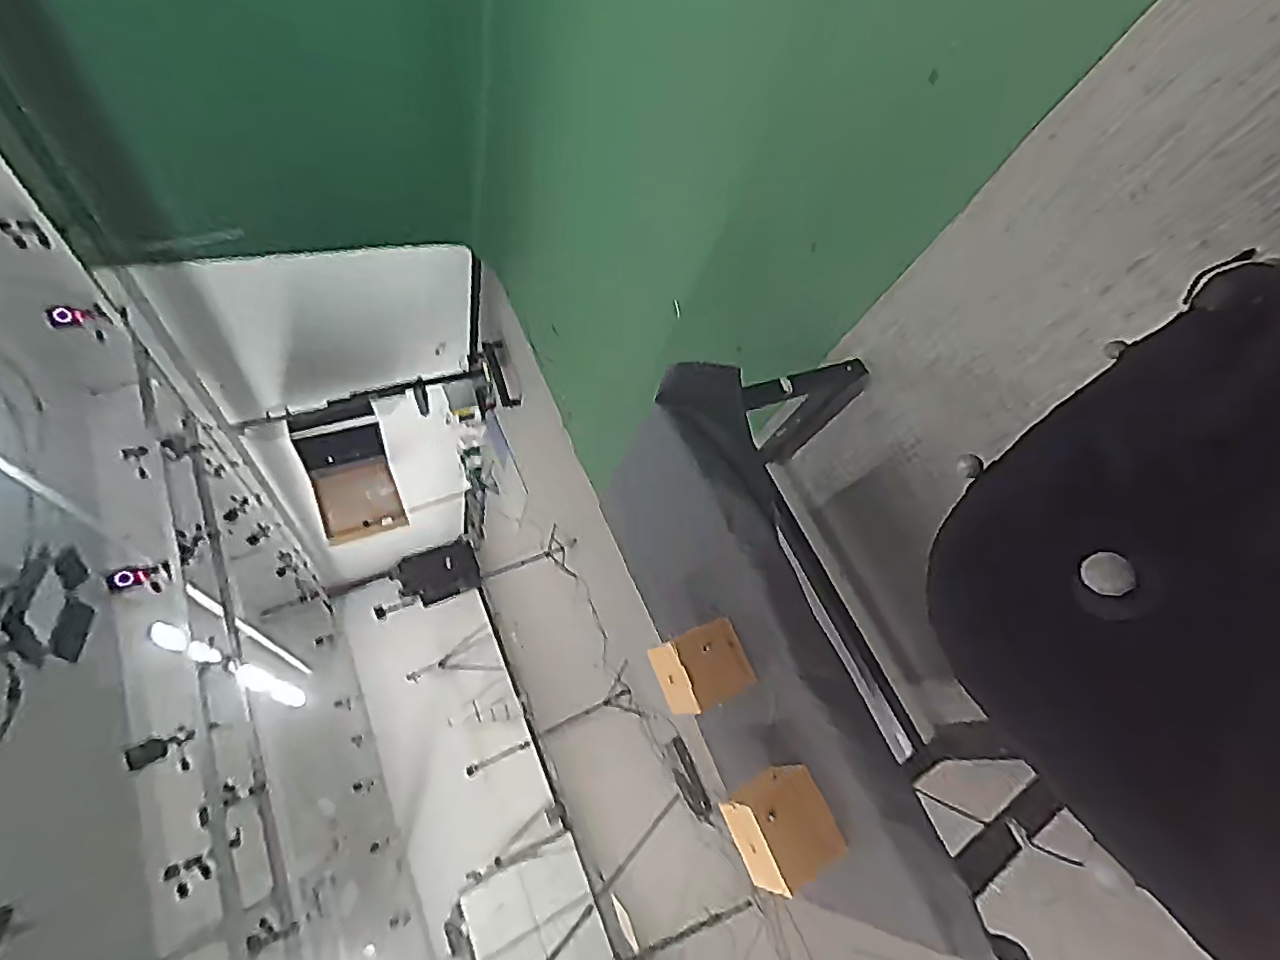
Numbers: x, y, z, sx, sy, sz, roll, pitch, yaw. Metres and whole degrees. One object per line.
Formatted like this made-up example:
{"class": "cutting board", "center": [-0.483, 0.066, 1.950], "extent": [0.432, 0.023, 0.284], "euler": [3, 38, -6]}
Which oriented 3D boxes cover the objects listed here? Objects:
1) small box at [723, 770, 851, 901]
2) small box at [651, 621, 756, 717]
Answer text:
{"class": "small box", "center": [0.317, 0.757, 1.171], "extent": [0.179, 0.176, 0.168], "euler": [64, 153, 20]}
{"class": "small box", "center": [0.156, 0.457, 1.309], "extent": [0.168, 0.176, 0.179], "euler": [67, 155, 16]}
